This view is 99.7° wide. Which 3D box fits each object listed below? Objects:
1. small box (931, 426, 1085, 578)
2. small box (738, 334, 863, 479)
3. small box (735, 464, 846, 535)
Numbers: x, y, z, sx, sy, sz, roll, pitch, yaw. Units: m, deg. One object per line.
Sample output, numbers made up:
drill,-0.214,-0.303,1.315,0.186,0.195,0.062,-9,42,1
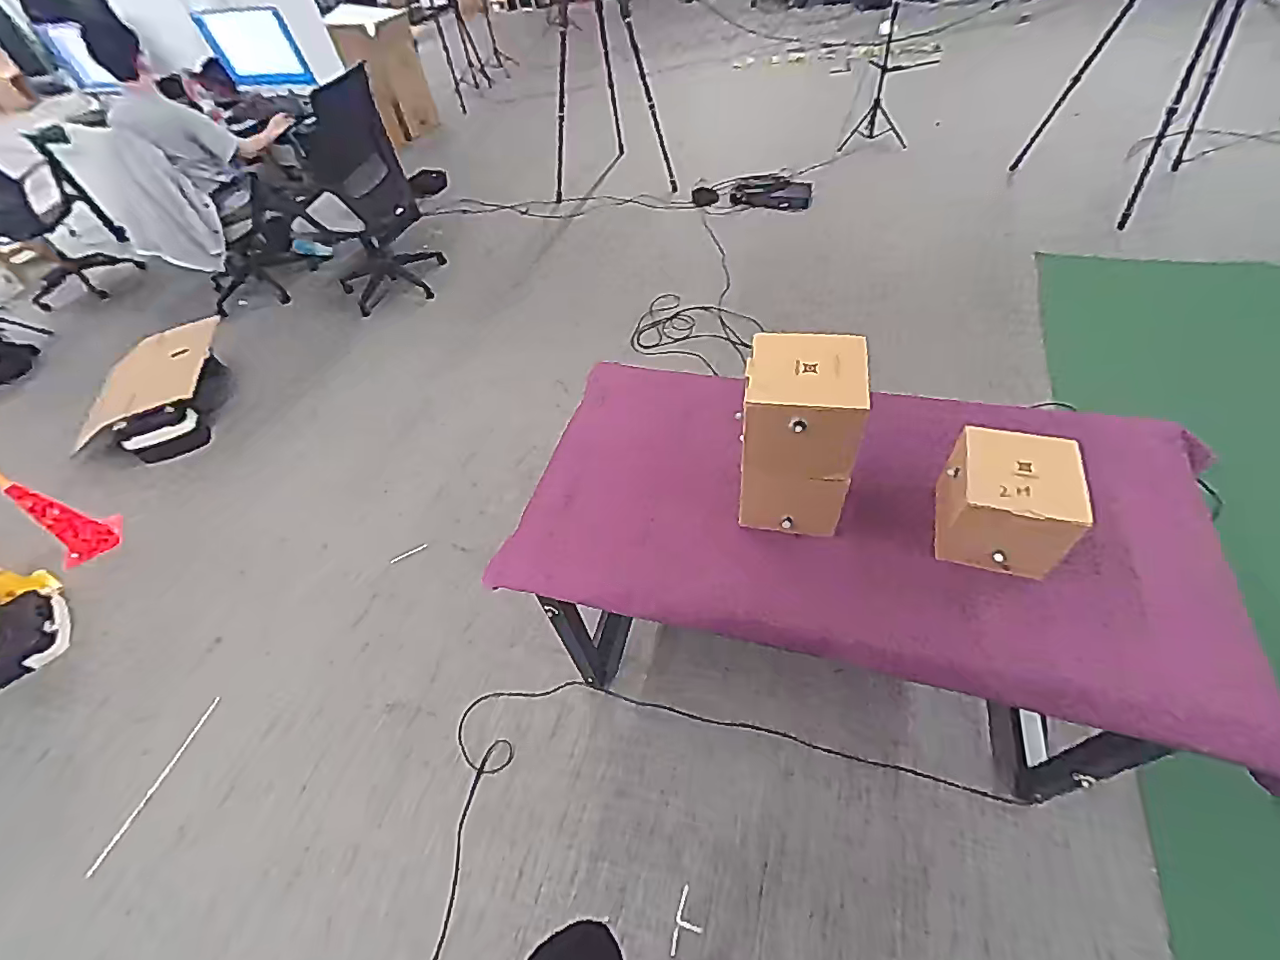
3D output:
small box,0.606,0.038,0.916,0.168,0.176,0.179,11,54,17
small box,0.255,-0.117,0.880,0.179,0.176,0.168,6,53,13
small box,0.276,-0.014,1.006,0.179,0.176,0.168,7,52,13
